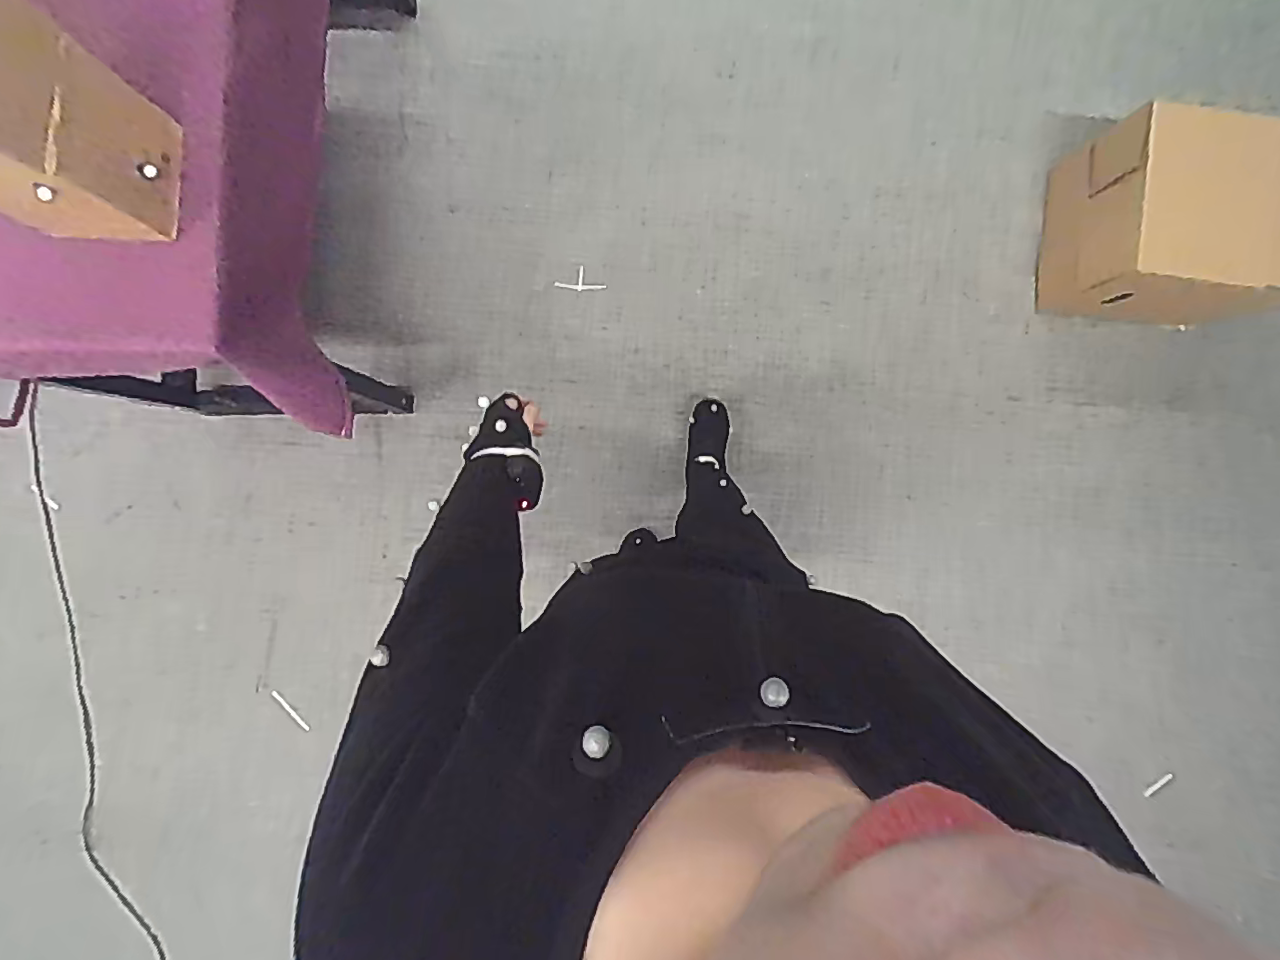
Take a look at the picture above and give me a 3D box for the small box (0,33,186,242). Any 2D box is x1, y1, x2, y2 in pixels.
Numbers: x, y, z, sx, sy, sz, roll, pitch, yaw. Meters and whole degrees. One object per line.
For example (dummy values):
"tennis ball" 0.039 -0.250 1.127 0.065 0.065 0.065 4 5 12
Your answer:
"small box" -0.741 -0.423 0.691 0.179 0.176 0.168 2 88 -1
